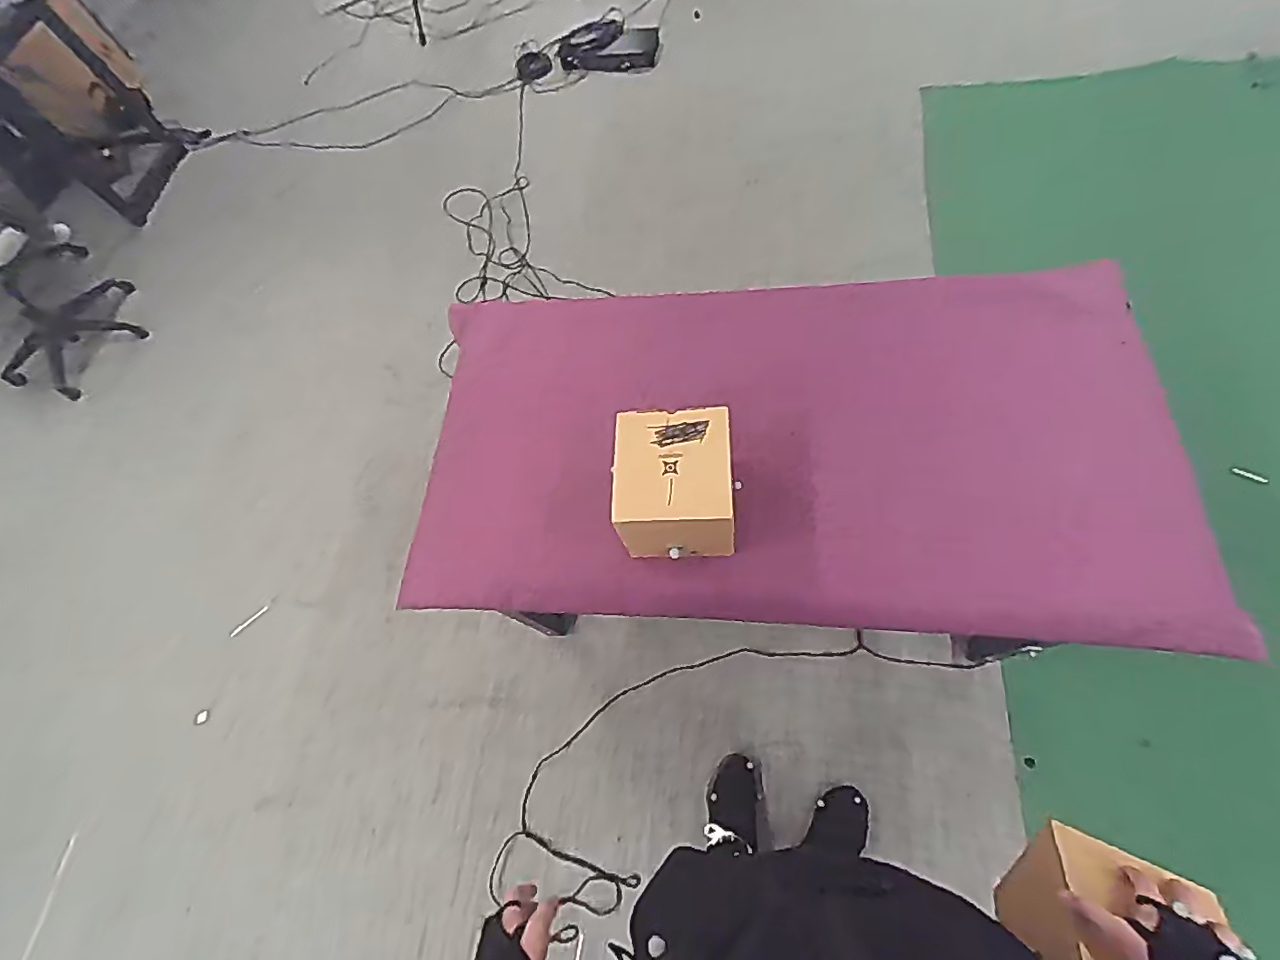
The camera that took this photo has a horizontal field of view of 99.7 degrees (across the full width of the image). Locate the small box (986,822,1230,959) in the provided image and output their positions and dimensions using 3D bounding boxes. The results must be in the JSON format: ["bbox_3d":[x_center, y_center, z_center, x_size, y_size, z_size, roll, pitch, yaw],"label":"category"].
[{"bbox_3d":[0.519,0.551,0.610,0.168,0.176,0.179,20,28,19],"label":"small box"}]

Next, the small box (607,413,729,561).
[{"bbox_3d":[0.050,0.017,0.832,0.168,0.176,0.179,-2,65,9],"label":"small box"}]
